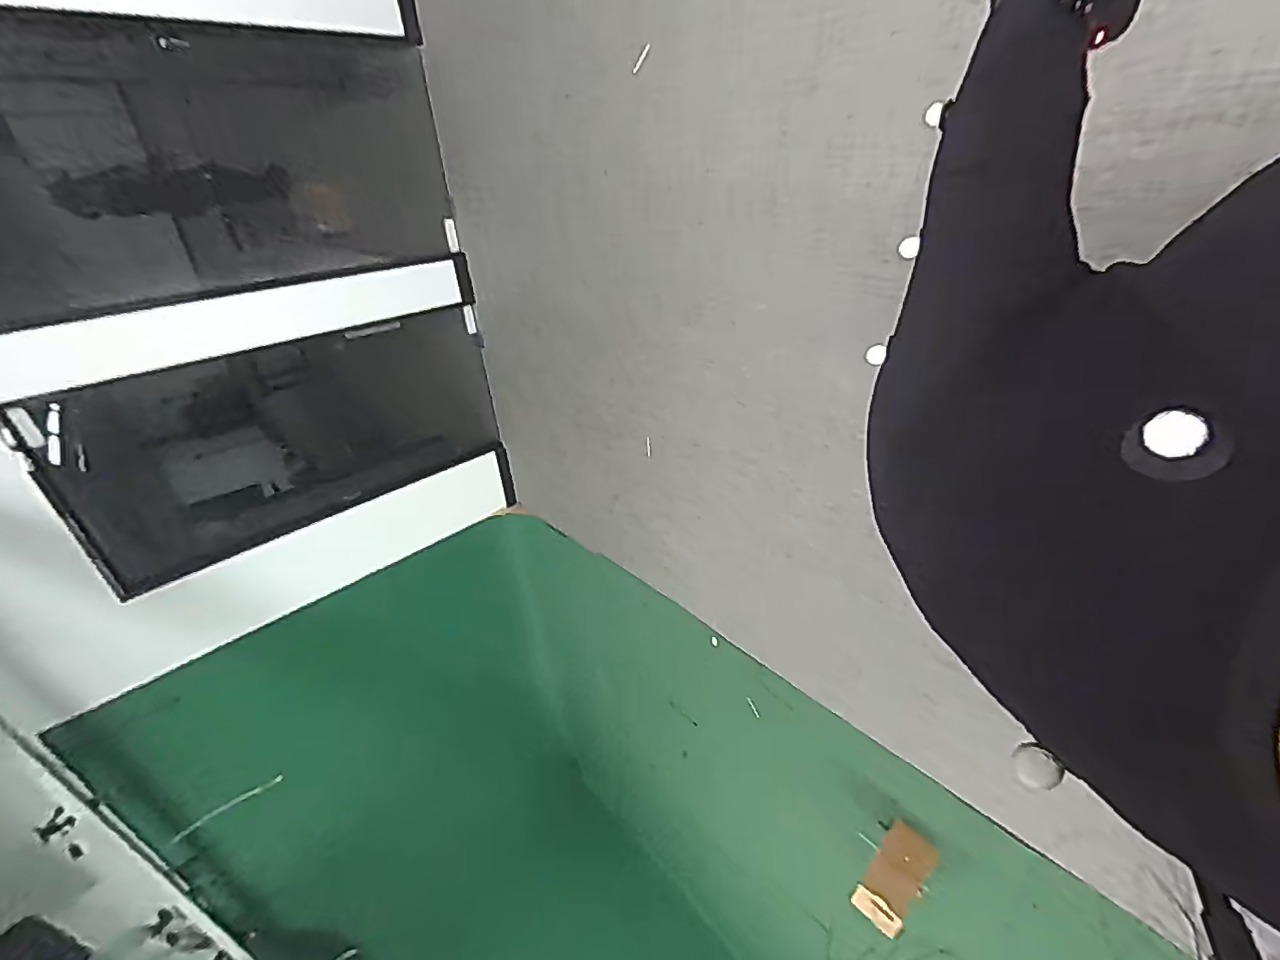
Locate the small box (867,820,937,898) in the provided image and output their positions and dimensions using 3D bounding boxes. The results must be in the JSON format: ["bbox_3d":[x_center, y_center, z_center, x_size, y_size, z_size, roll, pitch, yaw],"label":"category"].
[{"bbox_3d":[1.048,1.504,2.163,0.179,0.176,0.168,30,134,37],"label":"small box"}]
